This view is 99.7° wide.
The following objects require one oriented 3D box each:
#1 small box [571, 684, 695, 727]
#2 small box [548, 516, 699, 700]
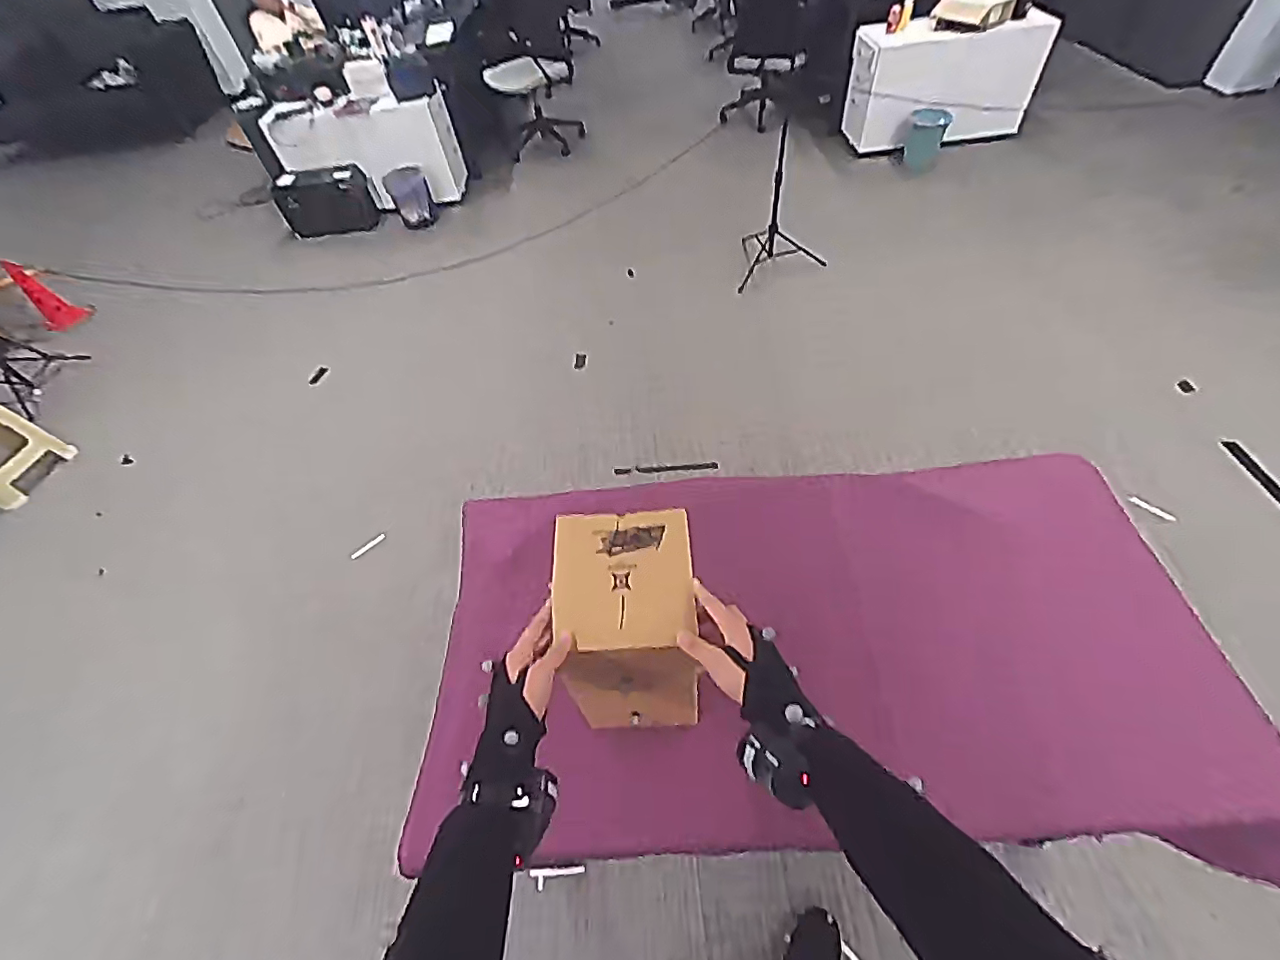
[{"bbox_3d":[-0.003,0.269,0.824,0.168,0.176,0.179,-3,52,3],"label":"small box"},{"bbox_3d":[-0.017,0.166,0.695,0.168,0.176,0.179,-4,53,2],"label":"small box"}]
